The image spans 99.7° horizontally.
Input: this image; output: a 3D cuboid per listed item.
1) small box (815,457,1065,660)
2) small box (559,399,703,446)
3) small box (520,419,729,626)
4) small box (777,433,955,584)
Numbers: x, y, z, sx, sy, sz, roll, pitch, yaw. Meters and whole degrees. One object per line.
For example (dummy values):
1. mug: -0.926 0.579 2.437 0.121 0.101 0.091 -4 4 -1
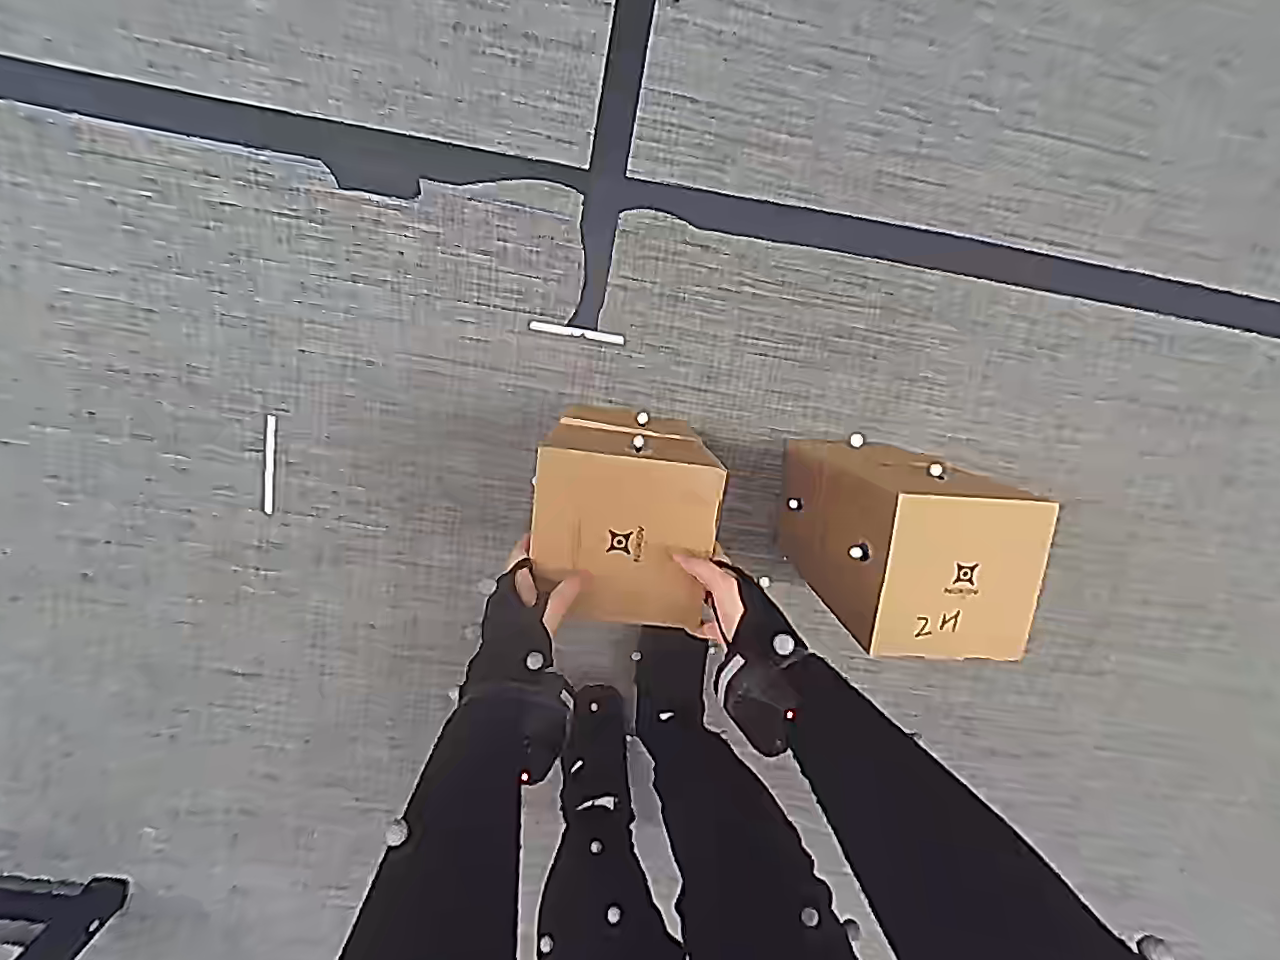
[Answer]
1. small box: 0.312 0.076 0.603 0.168 0.176 0.179 4 104 -4
2. small box: -0.029 -0.010 0.732 0.179 0.176 0.168 9 103 -6
3. small box: -0.021 0.034 0.573 0.179 0.176 0.168 7 103 -5
4. small box: 0.302 0.036 0.763 0.168 0.176 0.179 3 103 -4
